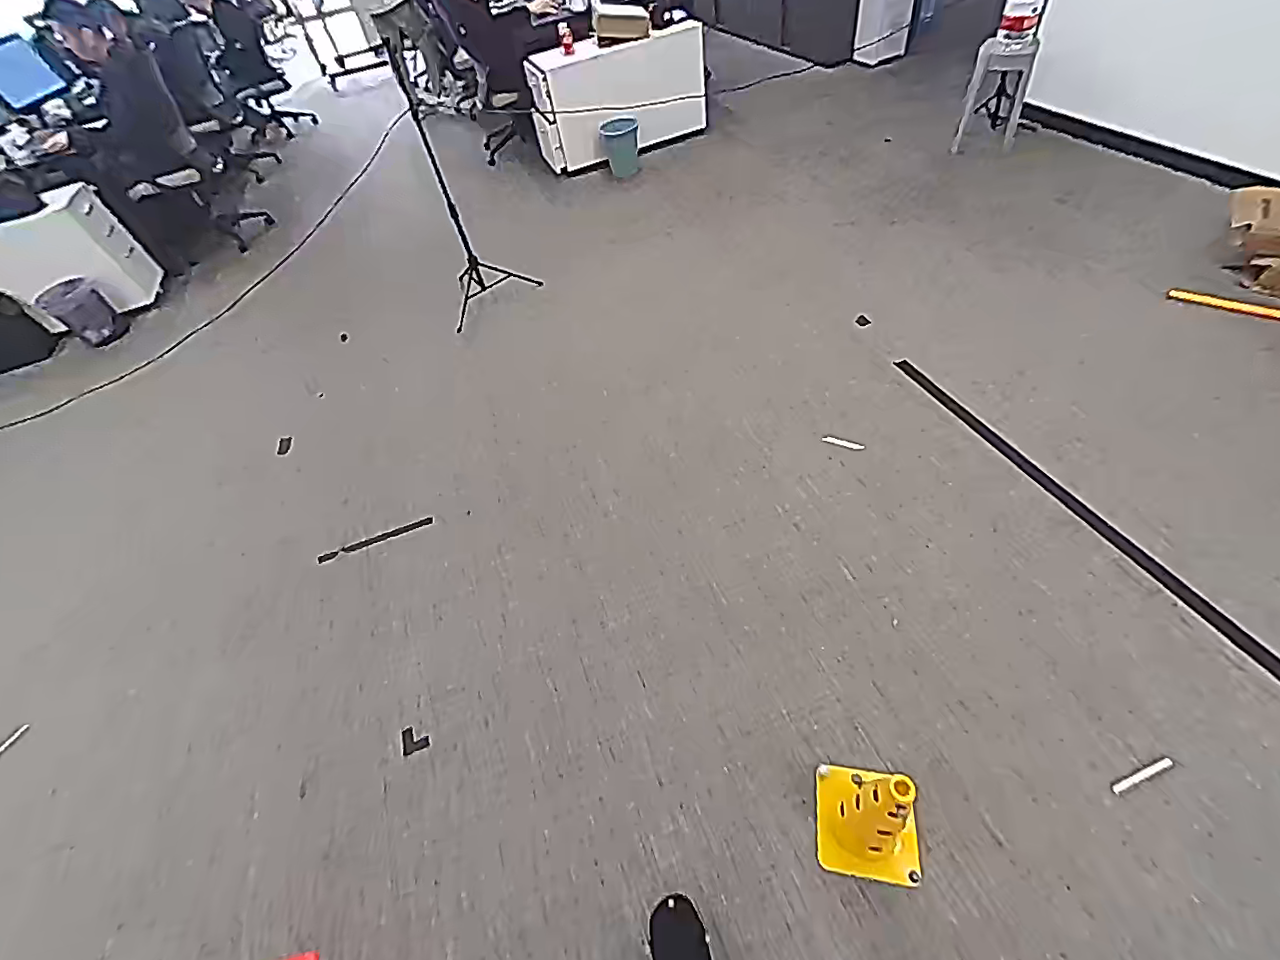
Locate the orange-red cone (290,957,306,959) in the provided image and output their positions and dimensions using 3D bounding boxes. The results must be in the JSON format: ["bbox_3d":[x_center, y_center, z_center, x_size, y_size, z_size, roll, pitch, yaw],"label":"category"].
[{"bbox_3d":[-0.787,0.995,0.951,0.199,0.360,0.198,-15,50,-4],"label":"orange-red cone"}]
